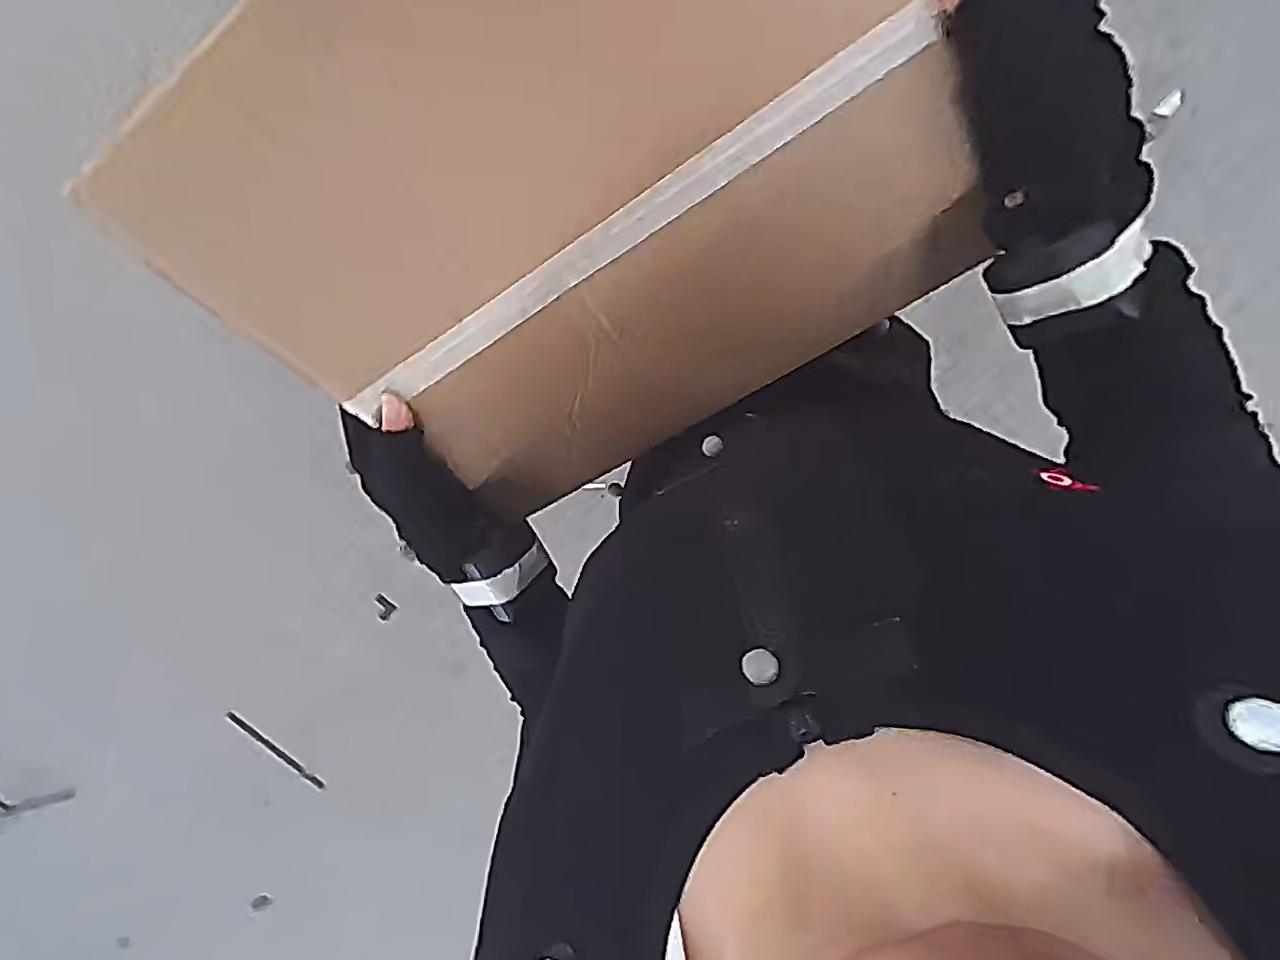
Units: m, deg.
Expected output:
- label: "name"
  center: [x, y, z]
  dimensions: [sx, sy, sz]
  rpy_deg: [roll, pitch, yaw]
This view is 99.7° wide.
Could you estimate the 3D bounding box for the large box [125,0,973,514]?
- label: "large box"
  center: [-0.042, -0.247, 0.415]
  dimensions: [0.408, 0.320, 0.320]
  rpy_deg: [-29, 135, 15]
